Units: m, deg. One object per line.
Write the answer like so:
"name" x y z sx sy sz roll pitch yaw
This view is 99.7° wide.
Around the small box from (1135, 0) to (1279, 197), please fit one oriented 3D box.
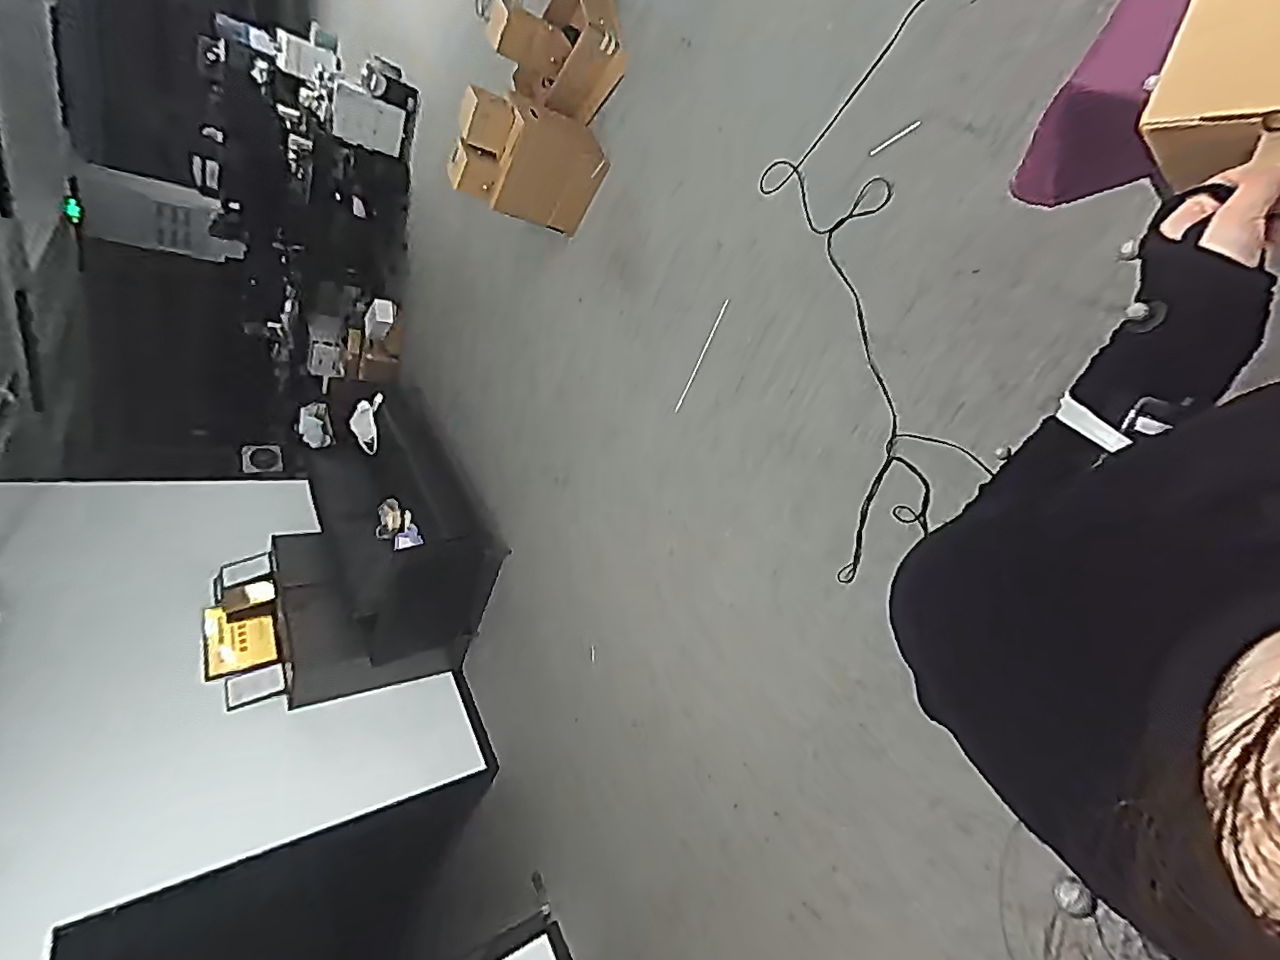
"small box" 0.481 -0.307 0.357 0.168 0.176 0.179 30 116 46
